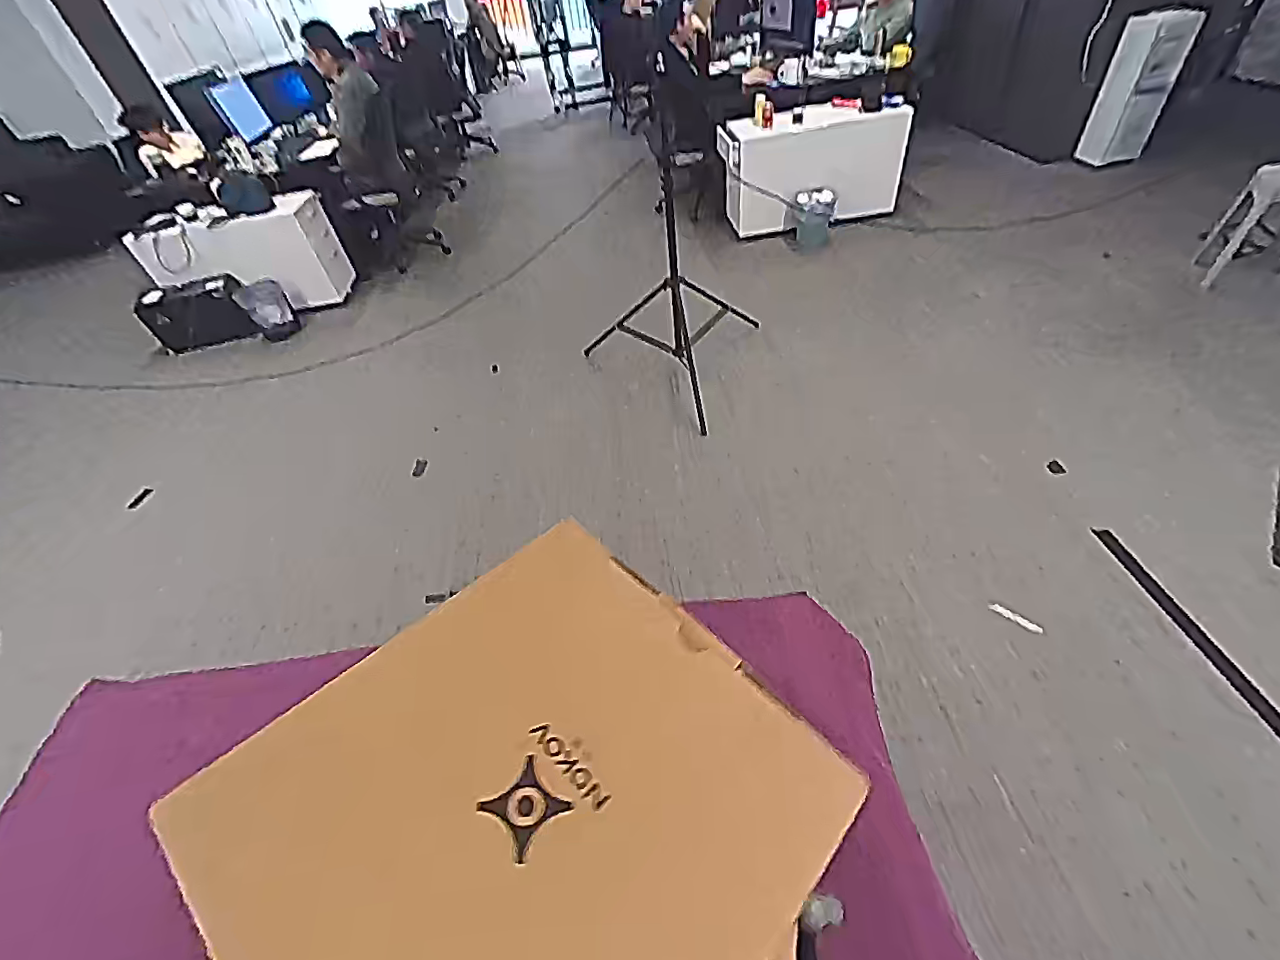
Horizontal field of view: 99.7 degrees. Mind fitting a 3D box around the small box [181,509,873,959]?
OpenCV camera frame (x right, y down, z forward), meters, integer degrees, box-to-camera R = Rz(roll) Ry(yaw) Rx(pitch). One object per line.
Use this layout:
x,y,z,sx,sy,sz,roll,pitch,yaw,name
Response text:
-0.037,0.154,0.243,0.168,0.176,0.179,37,53,22,small box
